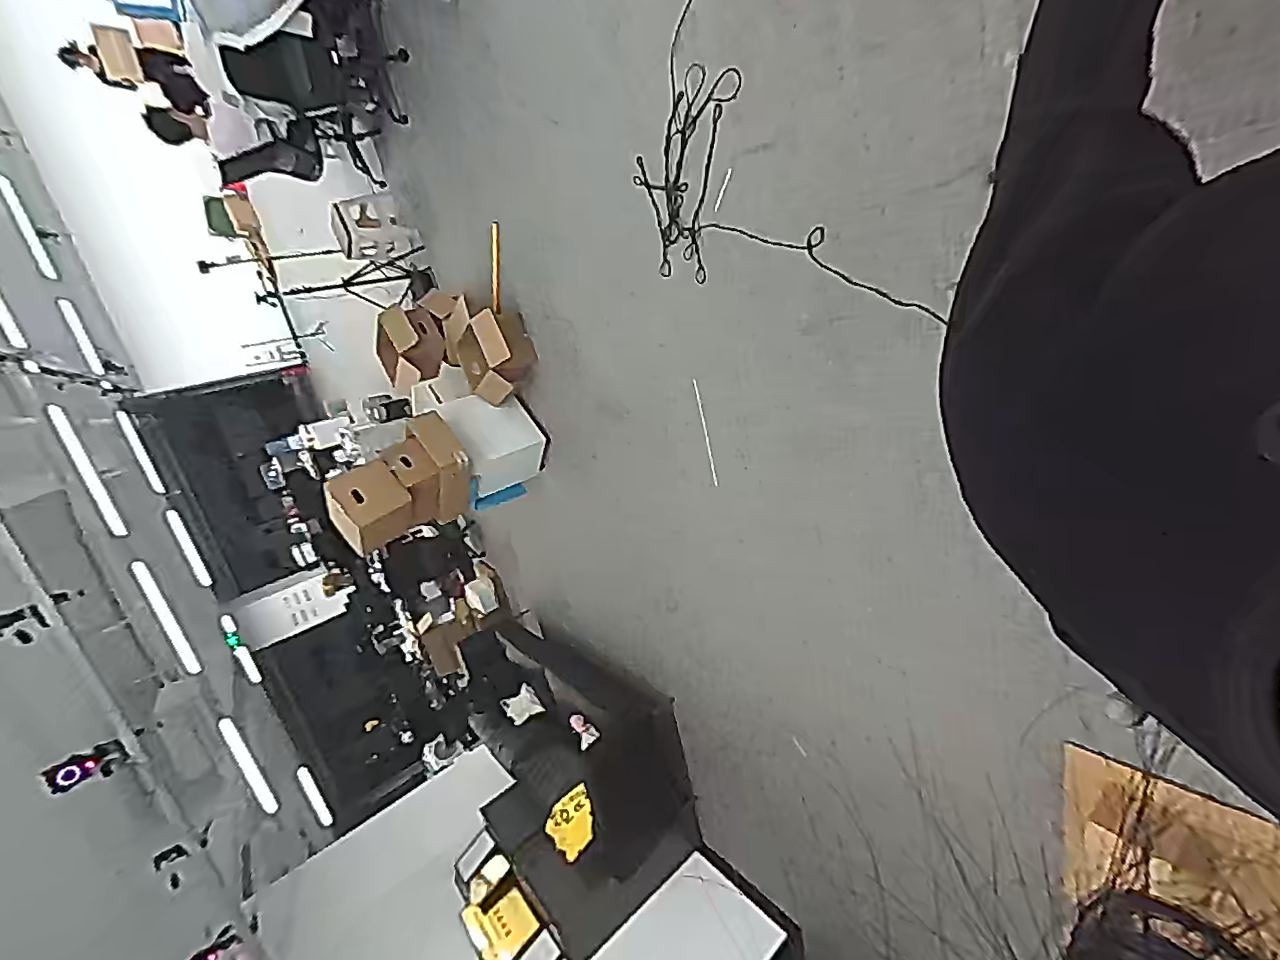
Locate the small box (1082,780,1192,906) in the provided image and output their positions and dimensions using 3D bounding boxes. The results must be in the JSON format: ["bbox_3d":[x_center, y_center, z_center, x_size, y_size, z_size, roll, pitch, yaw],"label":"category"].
[{"bbox_3d":[1.295,0.935,1.409,0.168,0.176,0.179,20,127,50],"label":"small box"}]
